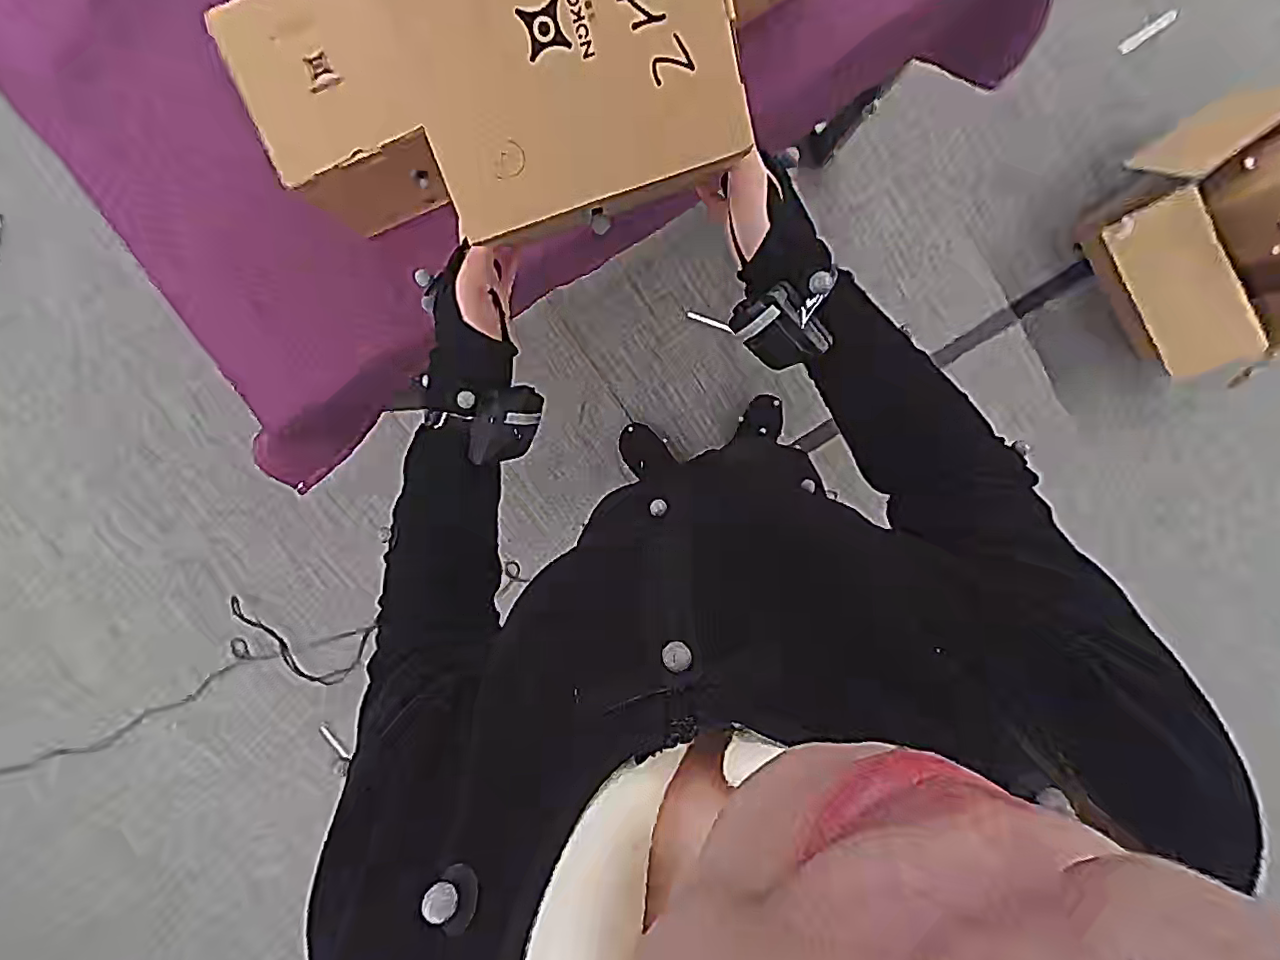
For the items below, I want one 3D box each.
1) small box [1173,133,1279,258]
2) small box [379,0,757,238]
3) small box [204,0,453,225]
[{"bbox_3d":[1.310,-0.598,1.144,0.179,0.176,0.168,34,99,-9],"label":"small box"},{"bbox_3d":[-0.040,-0.265,0.350,0.179,0.176,0.168,-16,113,4],"label":"small box"},{"bbox_3d":[-0.316,-0.412,0.609,0.168,0.176,0.179,-22,98,2],"label":"small box"}]
